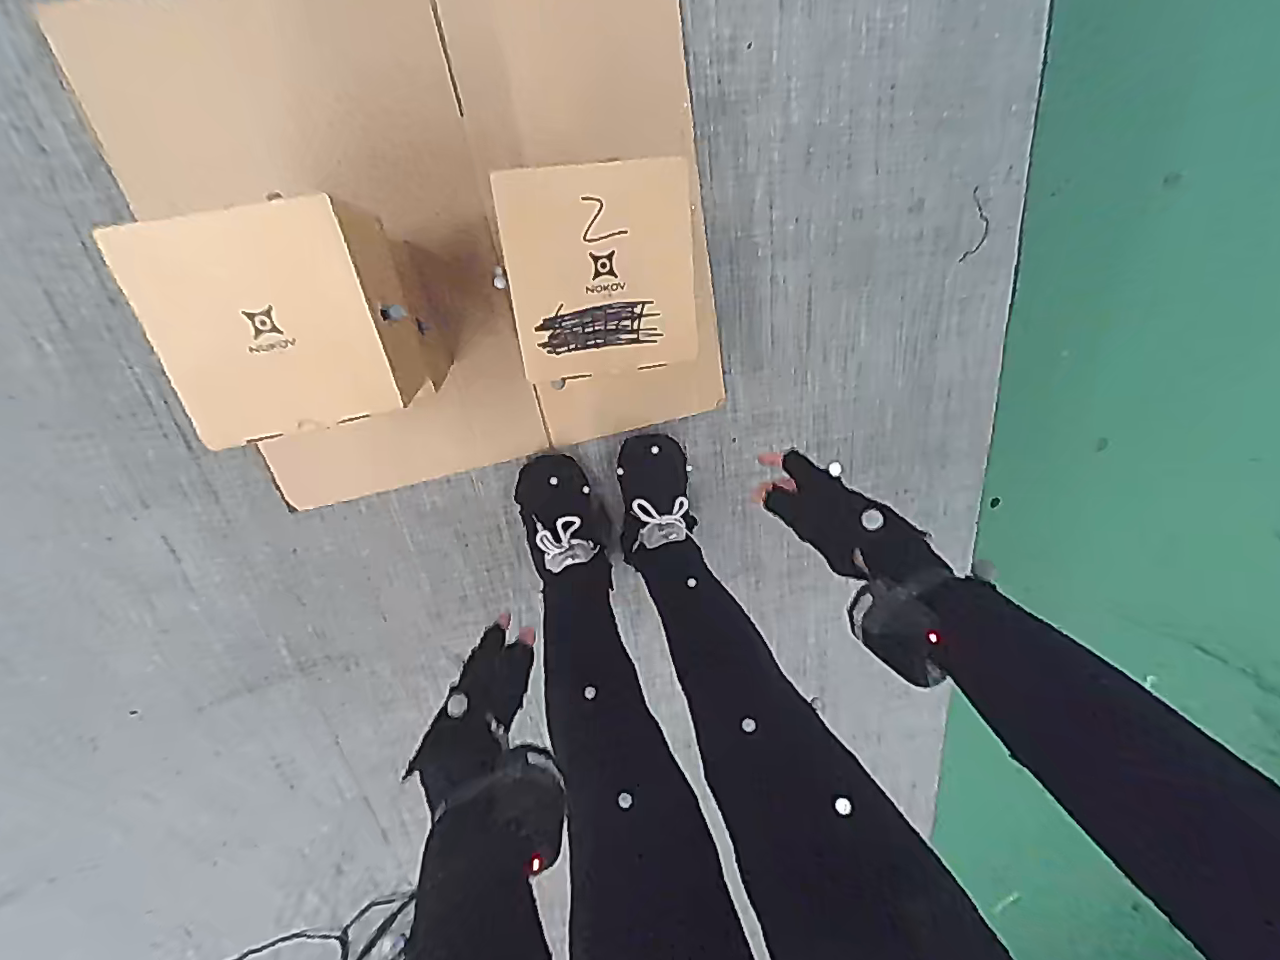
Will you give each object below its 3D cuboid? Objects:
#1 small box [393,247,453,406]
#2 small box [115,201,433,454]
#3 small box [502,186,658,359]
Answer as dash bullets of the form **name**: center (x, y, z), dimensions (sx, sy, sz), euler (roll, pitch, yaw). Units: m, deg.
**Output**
- **small box**: center (-0.345, -0.181, 0.668), dimensions (0.168, 0.176, 0.179), euler (-17, 115, -6)
- **small box**: center (-0.311, -0.146, 0.510), dimensions (0.168, 0.176, 0.179), euler (-14, 114, -8)
- **small box**: center (-0.081, -0.266, 0.698), dimensions (0.168, 0.176, 0.179), euler (-10, 115, -8)
